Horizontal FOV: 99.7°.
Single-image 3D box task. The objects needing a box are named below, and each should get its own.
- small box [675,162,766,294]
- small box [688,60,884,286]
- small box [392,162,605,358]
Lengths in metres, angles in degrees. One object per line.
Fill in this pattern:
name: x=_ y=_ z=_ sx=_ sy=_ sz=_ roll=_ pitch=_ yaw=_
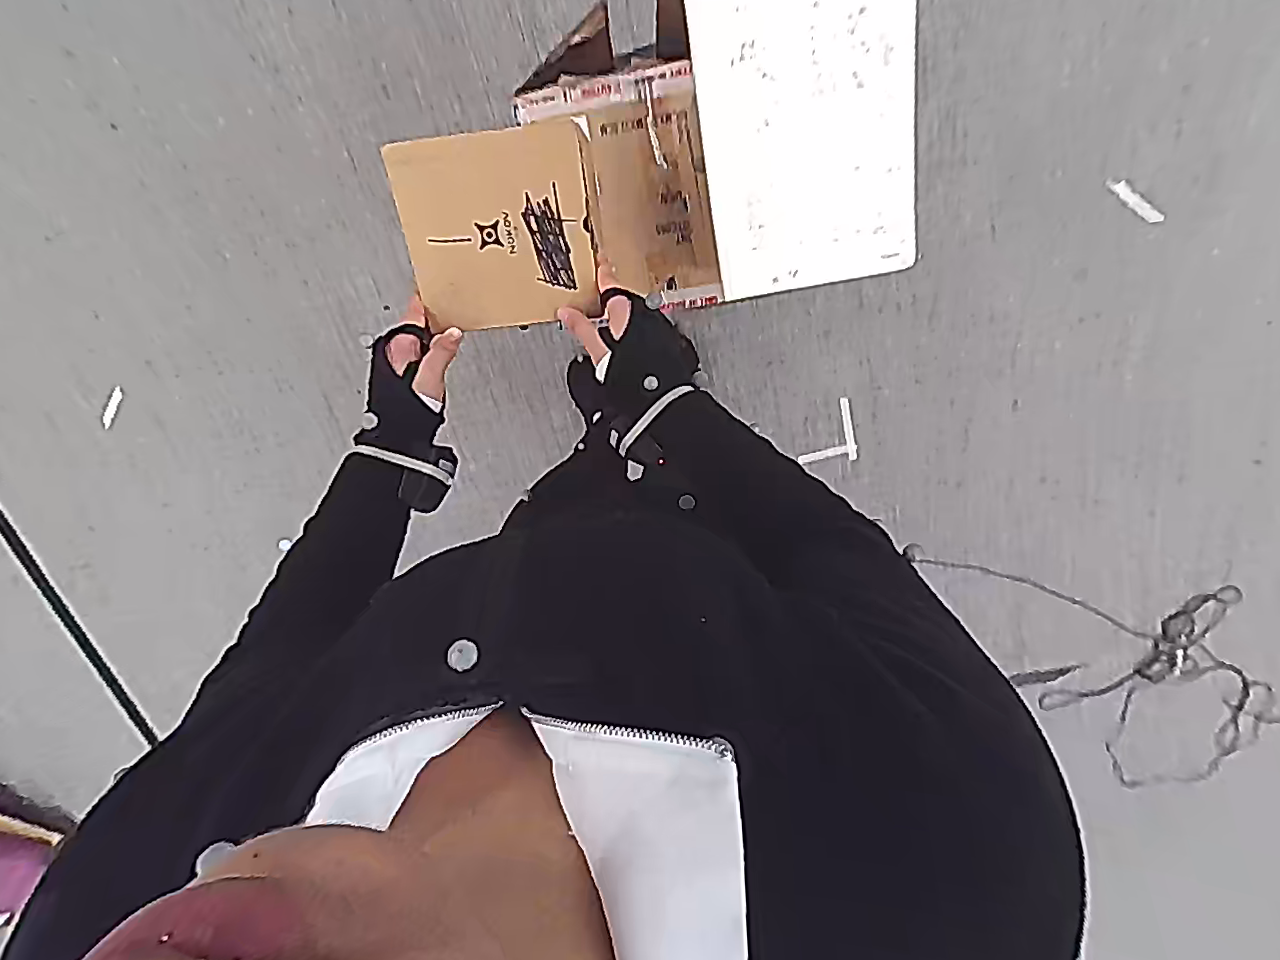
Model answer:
small box: x=0.157 y=-0.374 z=0.770 sx=0.179 sy=0.176 sz=0.168 roll=-14 pitch=109 yaw=5
small box: x=0.154 y=-0.326 z=0.613 sx=0.168 sy=0.176 sz=0.179 roll=-12 pitch=110 yaw=3
small box: x=-0.131 y=-0.239 z=0.586 sx=0.179 sy=0.176 sz=0.168 roll=-5 pitch=115 yaw=2
